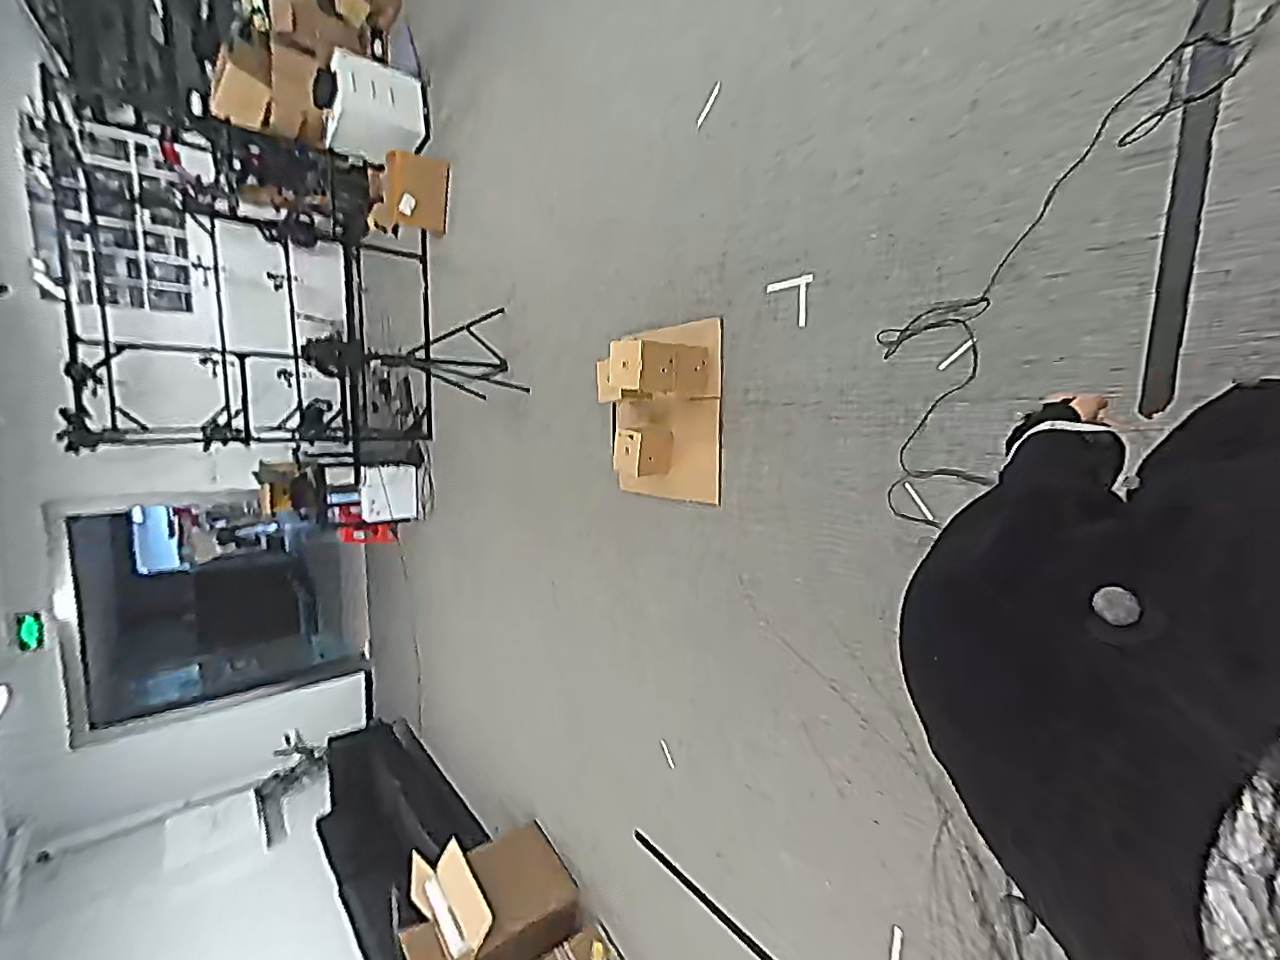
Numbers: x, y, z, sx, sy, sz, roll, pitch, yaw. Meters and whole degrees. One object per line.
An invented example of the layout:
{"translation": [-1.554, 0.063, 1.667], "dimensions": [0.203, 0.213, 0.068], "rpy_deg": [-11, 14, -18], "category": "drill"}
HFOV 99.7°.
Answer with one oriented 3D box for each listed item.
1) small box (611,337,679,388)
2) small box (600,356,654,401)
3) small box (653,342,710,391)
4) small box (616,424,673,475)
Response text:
{"translation": [0.018, -0.417, 1.938], "dimensions": [0.179, 0.176, 0.168], "rpy_deg": [13, 104, 48], "category": "small box"}
{"translation": [-0.054, -0.430, 2.281], "dimensions": [0.168, 0.176, 0.179], "rpy_deg": [1, 94, 52], "category": "small box"}
{"translation": [0.142, -0.426, 2.043], "dimensions": [0.179, 0.176, 0.168], "rpy_deg": [8, 101, 49], "category": "small box"}
{"translation": [0.019, -0.129, 2.219], "dimensions": [0.168, 0.176, 0.179], "rpy_deg": [21, 111, 47], "category": "small box"}
